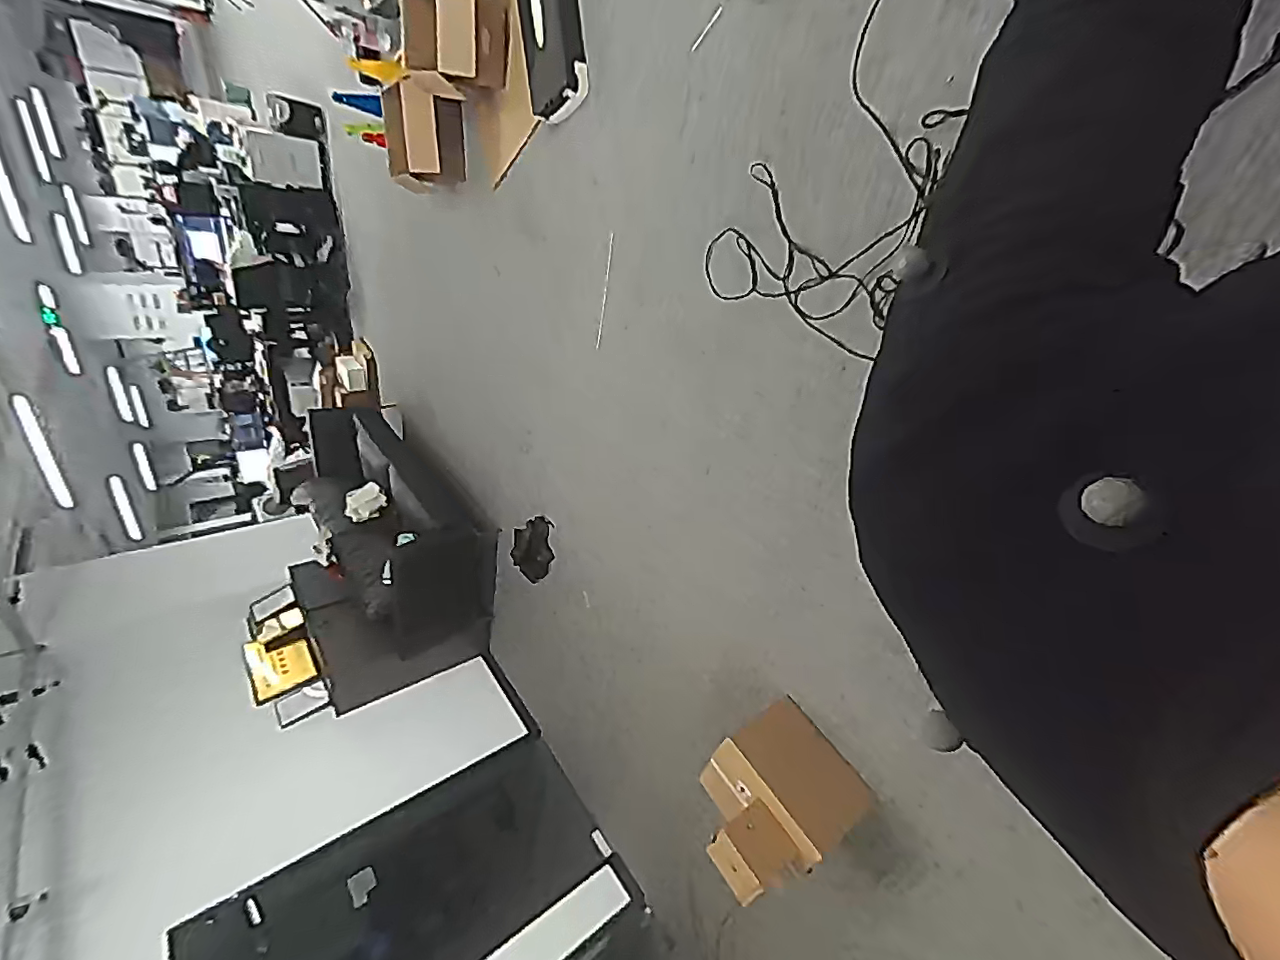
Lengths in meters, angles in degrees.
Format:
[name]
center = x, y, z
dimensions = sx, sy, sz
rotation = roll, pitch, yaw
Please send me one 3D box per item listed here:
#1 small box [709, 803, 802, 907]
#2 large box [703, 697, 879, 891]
[small box]
center = 0.340, 1.098, 1.600
dimensions = 0.179, 0.176, 0.168
rotation = 44, 135, 34
[large box]
center = 0.487, 1.019, 1.790
dimensions = 0.408, 0.320, 0.320
rotation = 47, 134, 34
